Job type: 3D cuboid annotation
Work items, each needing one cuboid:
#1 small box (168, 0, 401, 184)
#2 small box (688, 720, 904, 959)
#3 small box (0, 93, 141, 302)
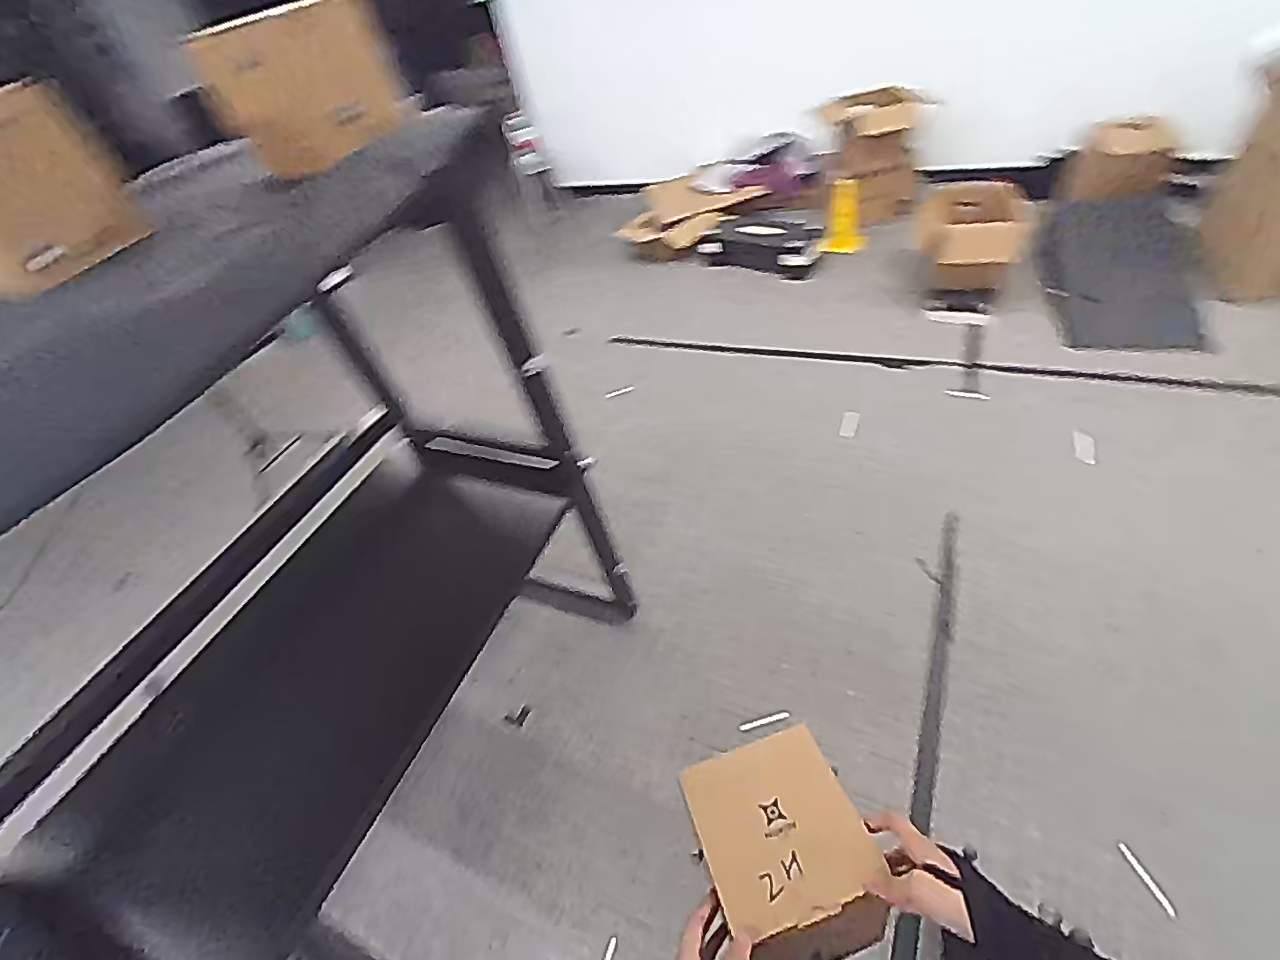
[{"bbox_3d":[-0.482,-0.533,0.757,0.179,0.176,0.168,15,54,26],"label":"small box"},{"bbox_3d":[0.163,0.417,0.612,0.168,0.176,0.179,-16,35,-7],"label":"small box"},{"bbox_3d":[-0.774,-0.329,0.648,0.179,0.176,0.168,8,51,22],"label":"small box"}]
